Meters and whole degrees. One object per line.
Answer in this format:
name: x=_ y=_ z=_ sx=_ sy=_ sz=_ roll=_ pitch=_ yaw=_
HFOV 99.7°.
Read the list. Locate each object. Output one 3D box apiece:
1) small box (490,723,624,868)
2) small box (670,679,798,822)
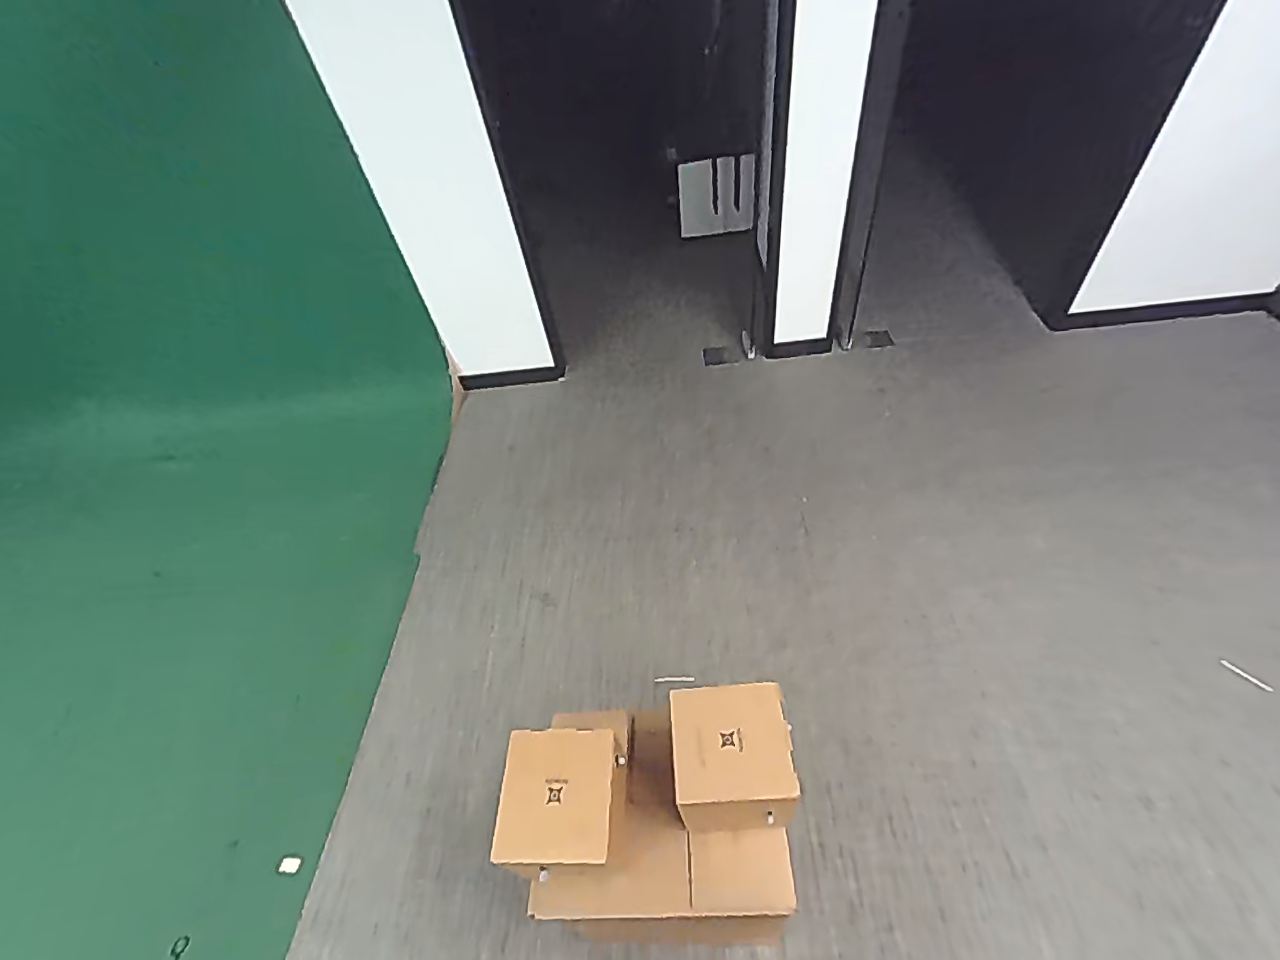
small box: x=-0.118 y=0.499 z=0.854 sx=0.168 sy=0.176 sz=0.179 roll=-3 pitch=49 yaw=5
small box: x=0.145 y=0.436 z=0.867 sx=0.179 sy=0.176 sz=0.168 roll=-6 pitch=46 yaw=6
